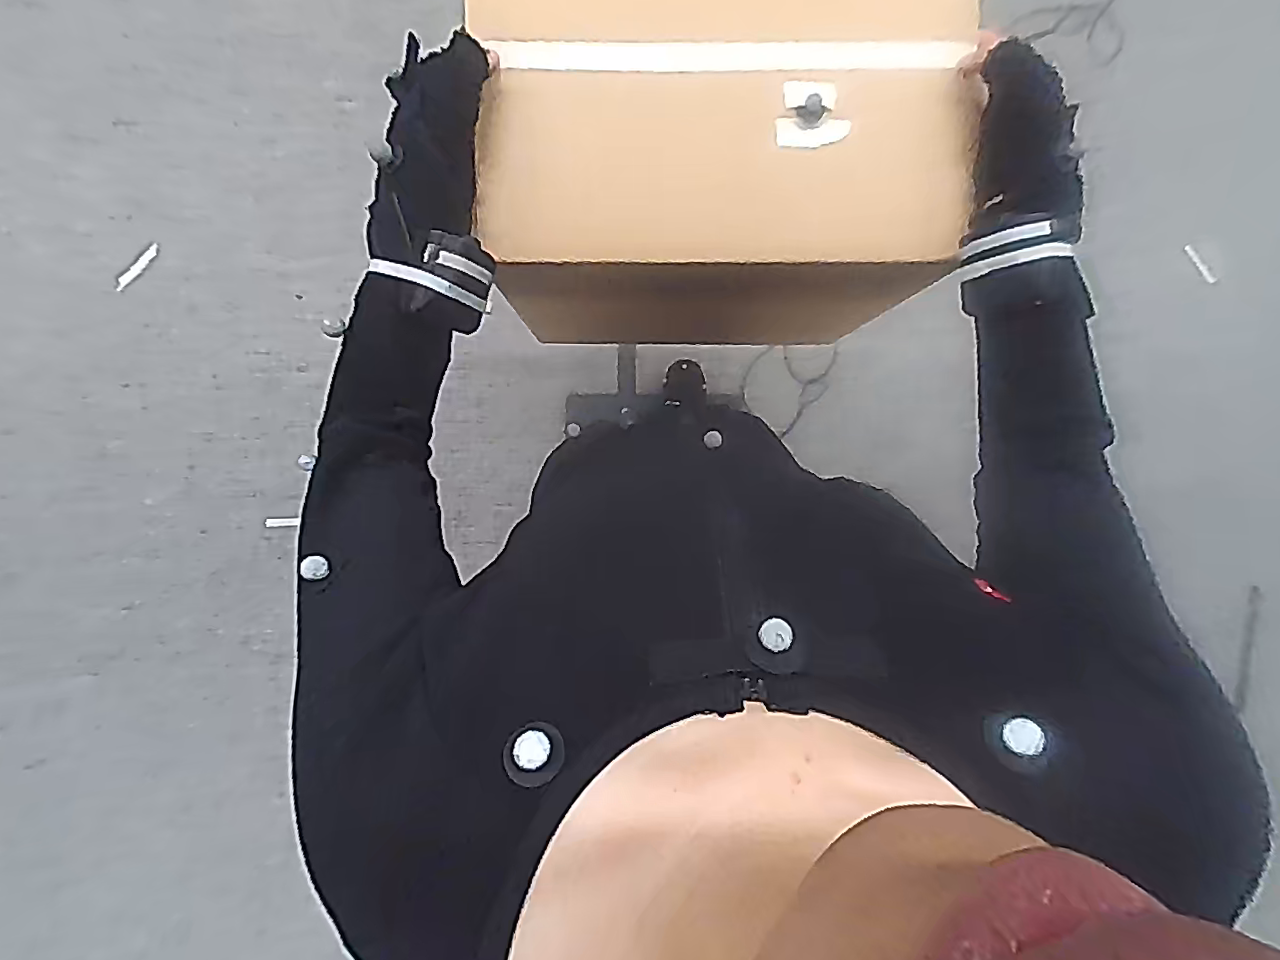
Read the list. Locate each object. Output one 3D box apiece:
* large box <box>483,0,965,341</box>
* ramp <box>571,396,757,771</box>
[{"bbox_3d":[0.066,-0.345,0.594,0.408,0.320,0.320,-1,92,-1],"label":"large box"},{"bbox_3d":[0.057,0.263,1.465,0.509,0.206,0.991,-2,94,1],"label":"ramp"}]
